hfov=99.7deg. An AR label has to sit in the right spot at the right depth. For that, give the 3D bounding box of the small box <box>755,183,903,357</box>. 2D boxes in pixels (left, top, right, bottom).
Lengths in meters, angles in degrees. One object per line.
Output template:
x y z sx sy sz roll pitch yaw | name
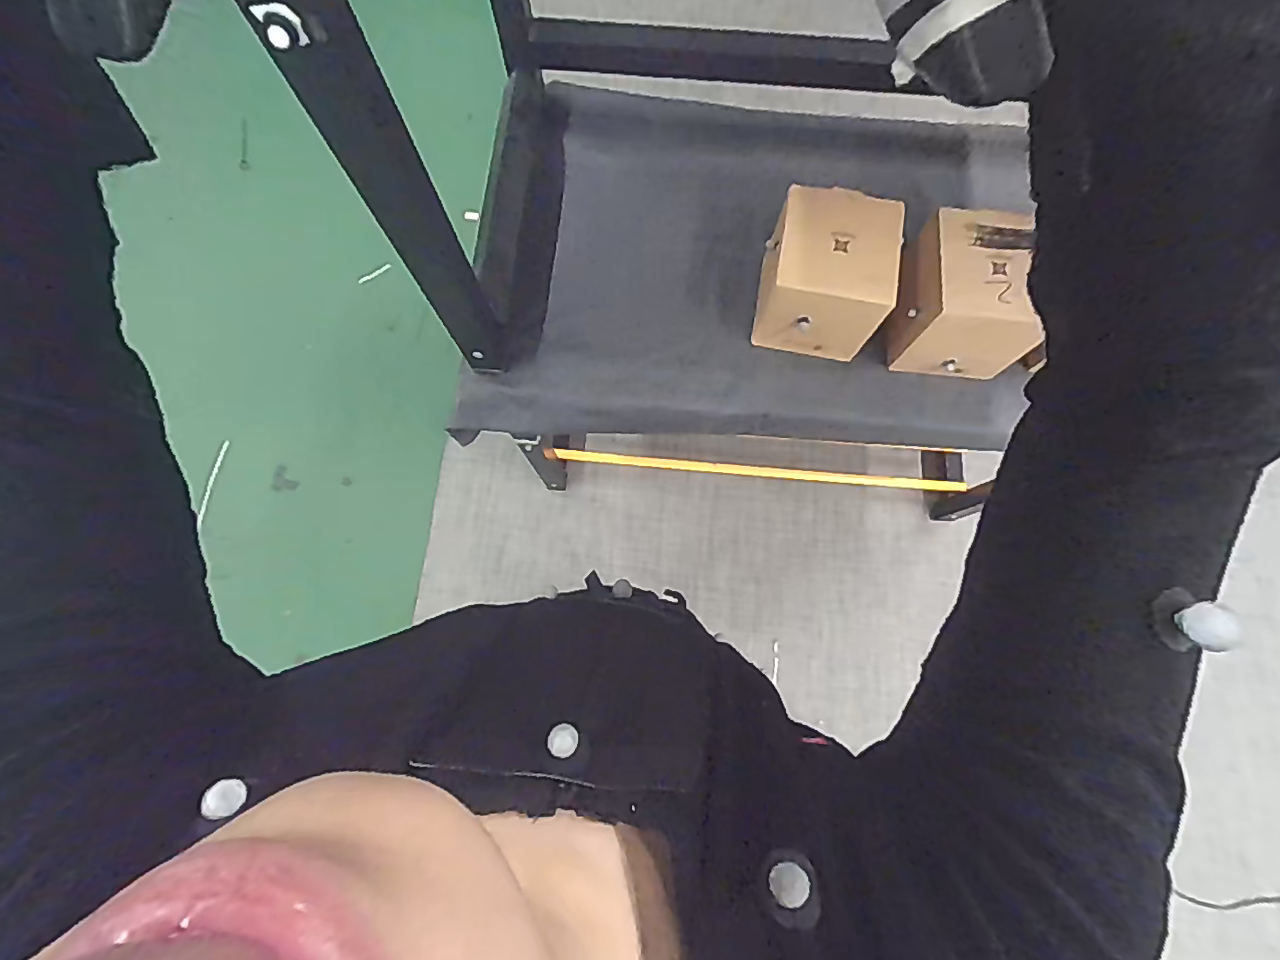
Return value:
0.280 -0.312 0.832 0.168 0.176 0.179 11 75 3 | small box
